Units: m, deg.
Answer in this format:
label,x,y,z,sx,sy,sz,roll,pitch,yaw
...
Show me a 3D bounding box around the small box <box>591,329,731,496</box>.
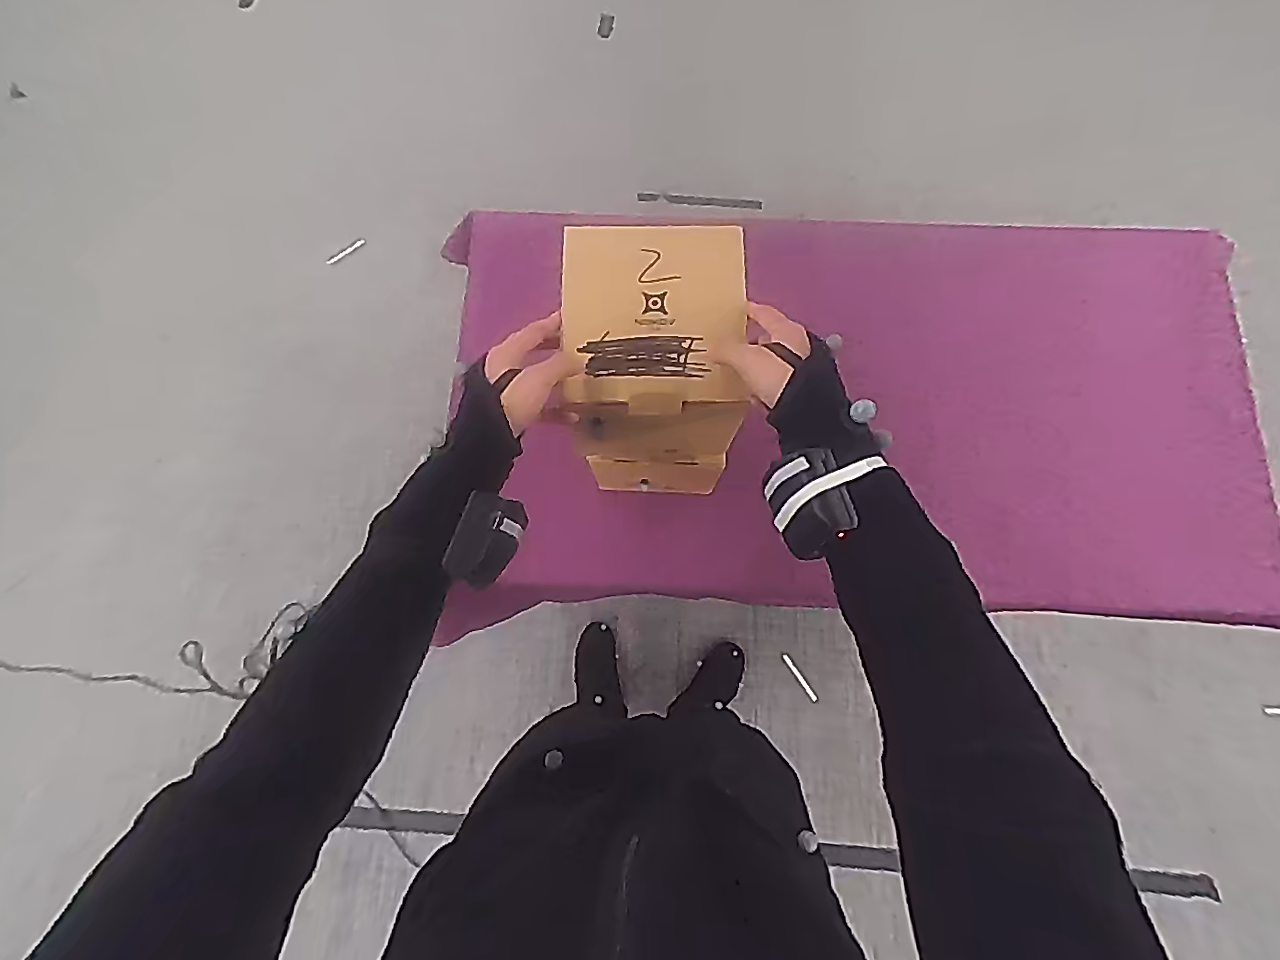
label,x,y,z,sx,sy,sz,roll,pitch,yaw
small box,0.027,-0.083,0.737,0.168,0.176,0.179,3,78,1
